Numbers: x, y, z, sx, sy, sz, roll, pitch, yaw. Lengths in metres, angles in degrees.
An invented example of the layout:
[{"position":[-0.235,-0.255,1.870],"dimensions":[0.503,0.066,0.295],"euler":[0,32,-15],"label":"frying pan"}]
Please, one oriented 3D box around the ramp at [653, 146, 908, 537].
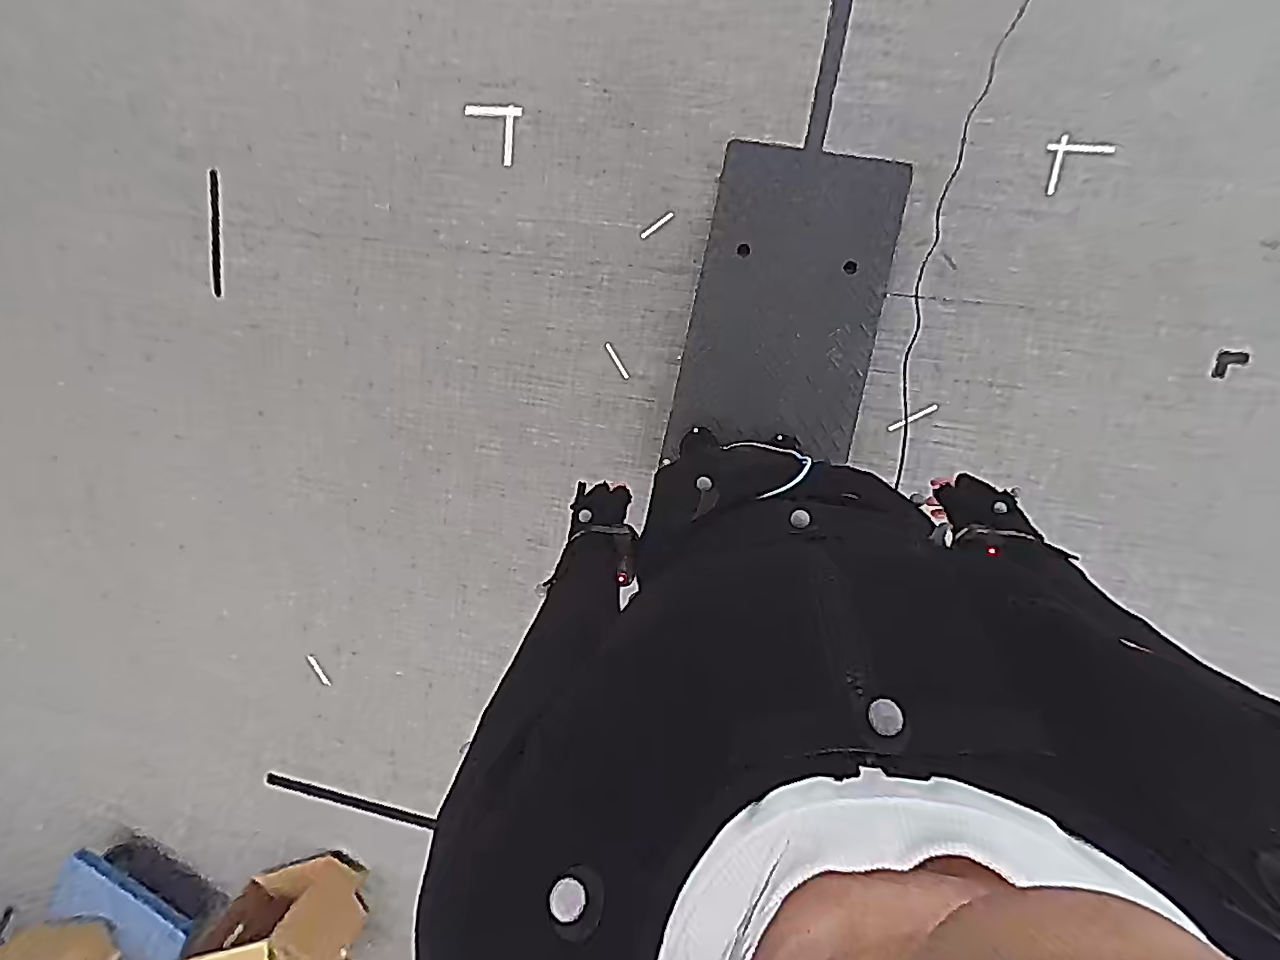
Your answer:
[{"position":[0.367,-0.381,1.456],"dimensions":[0.509,0.206,0.991],"euler":[11,101,9],"label":"ramp"}]
